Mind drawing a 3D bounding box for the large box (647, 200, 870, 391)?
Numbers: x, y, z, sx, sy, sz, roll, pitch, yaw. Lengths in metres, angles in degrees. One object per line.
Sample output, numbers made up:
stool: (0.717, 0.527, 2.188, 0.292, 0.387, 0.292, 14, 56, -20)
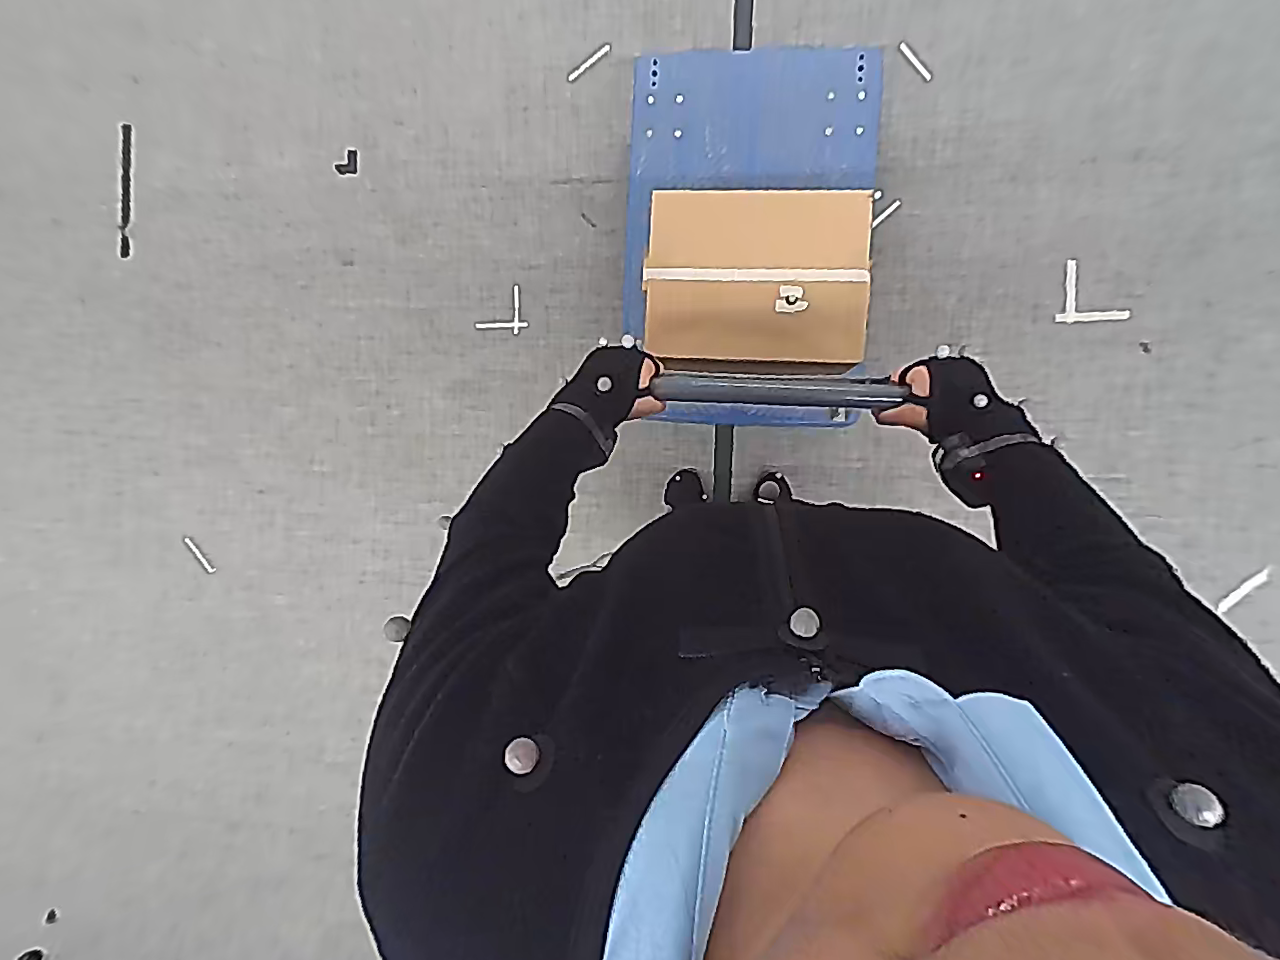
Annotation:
large box: (0.227, -0.365, 1.148, 0.408, 0.320, 0.320, 3, 93, 6)
